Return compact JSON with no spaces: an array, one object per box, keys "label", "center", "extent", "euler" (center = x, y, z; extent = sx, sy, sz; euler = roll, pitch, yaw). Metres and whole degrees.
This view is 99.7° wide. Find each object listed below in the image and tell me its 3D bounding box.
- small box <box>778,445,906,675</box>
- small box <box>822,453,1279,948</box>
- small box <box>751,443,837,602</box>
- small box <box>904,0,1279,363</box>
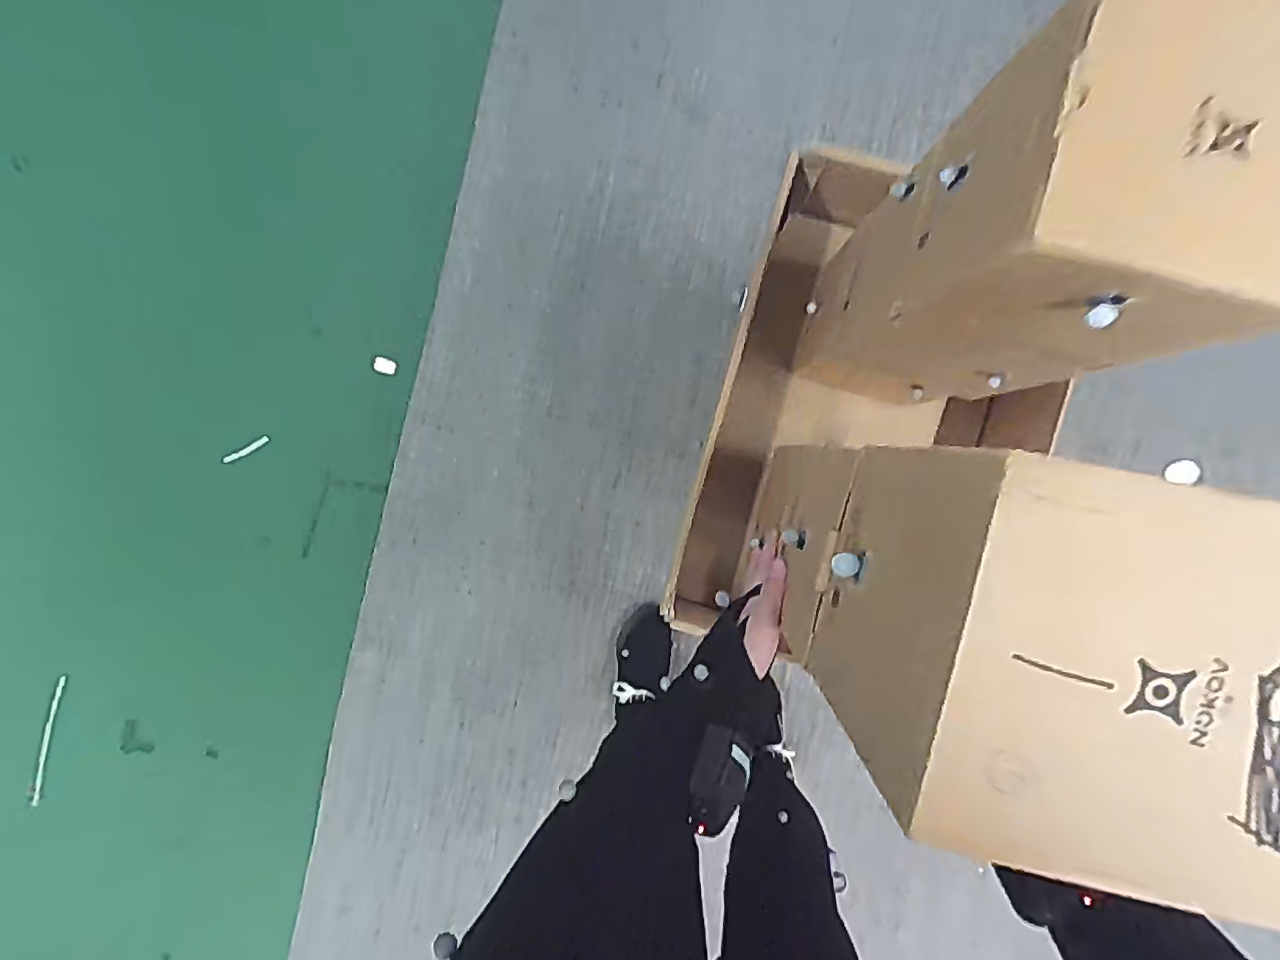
[{"label":"small box","center":[0.226,0.071,0.447],"extent":[0.179,0.176,0.168],"euler":[14,96,3]},{"label":"small box","center":[0.218,0.082,0.283],"extent":[0.179,0.176,0.168],"euler":[12,95,4]},{"label":"small box","center":[0.236,0.060,0.610],"extent":[0.179,0.176,0.168],"euler":[15,95,2]},{"label":"small box","center":[0.321,-0.187,0.369],"extent":[0.179,0.176,0.168],"euler":[15,92,1]}]
